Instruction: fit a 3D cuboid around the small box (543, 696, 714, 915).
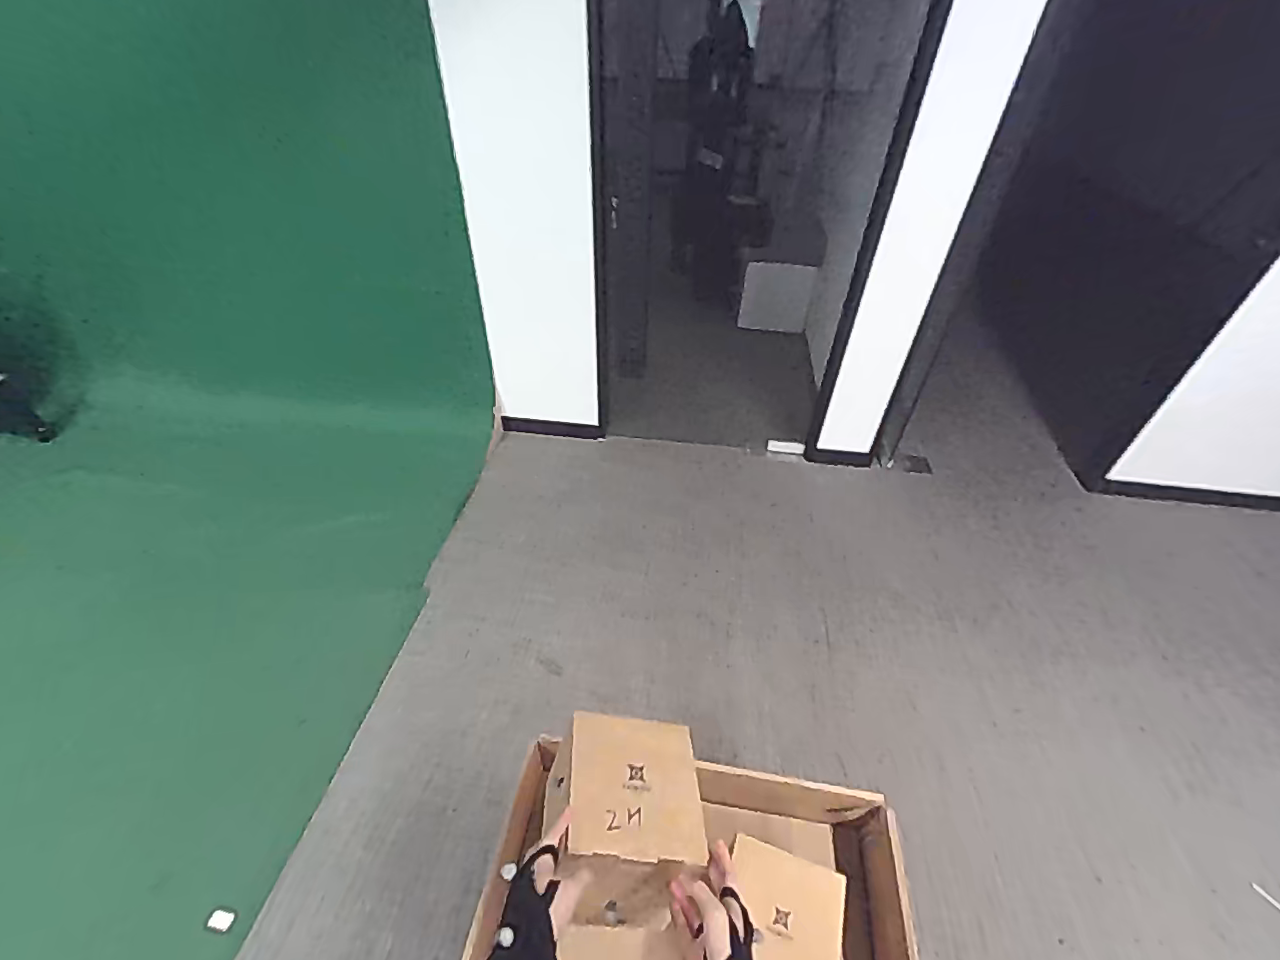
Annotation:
[{"bbox_3d":[-0.023,0.413,0.691,0.168,0.176,0.179,13,31,-11],"label":"small box"}]
